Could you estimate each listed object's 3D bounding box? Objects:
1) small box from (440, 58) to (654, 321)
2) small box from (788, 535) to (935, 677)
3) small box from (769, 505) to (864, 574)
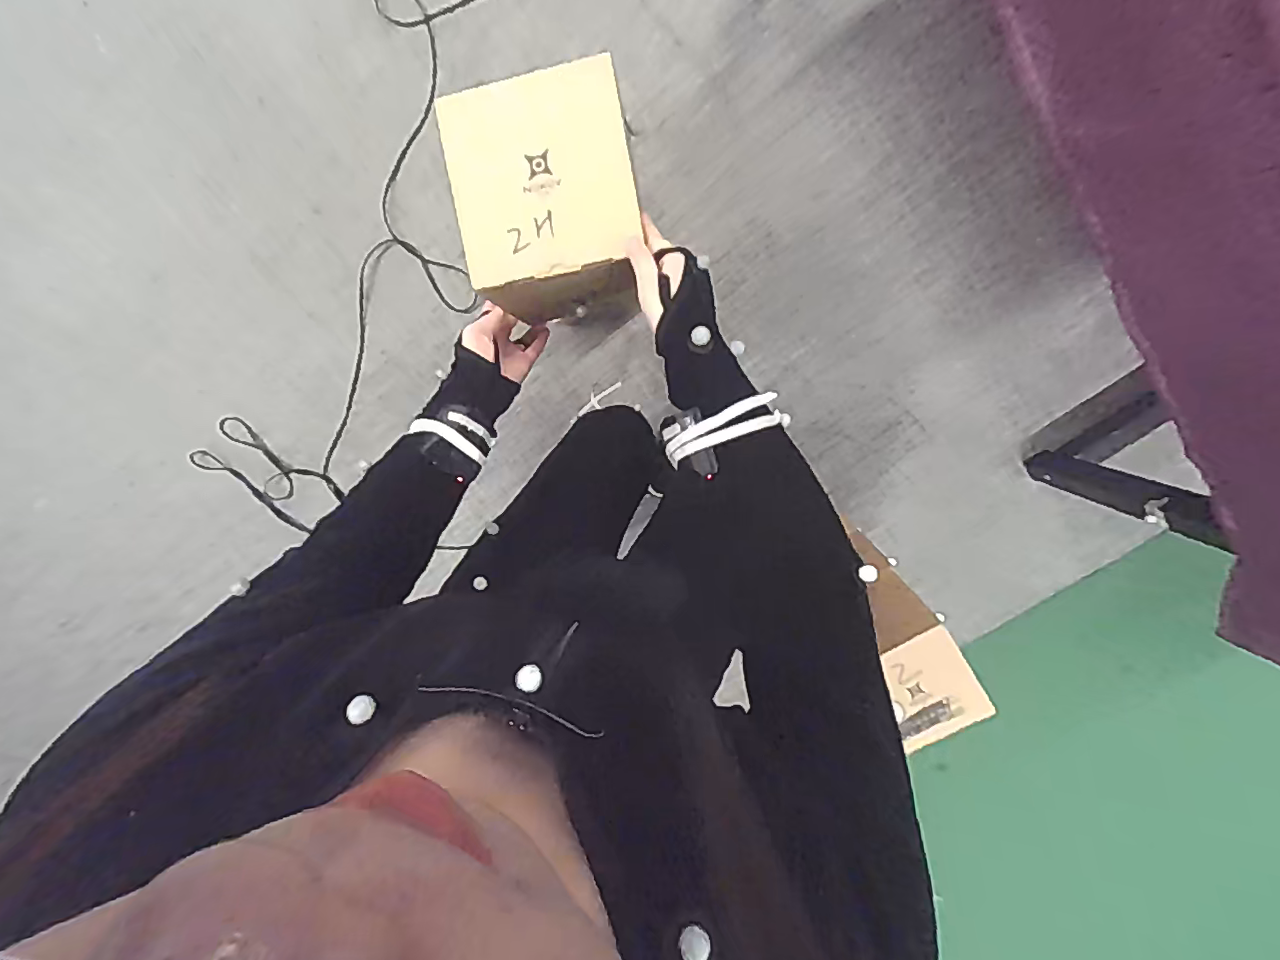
[{"bbox_3d":[-0.083,-0.285,0.573,0.168,0.176,0.179,-10,95,7],"label":"small box"},{"bbox_3d":[0.404,0.223,1.018,0.168,0.176,0.179,-34,104,11],"label":"small box"},{"bbox_3d":[0.402,0.172,1.172,0.168,0.176,0.179,-32,103,9],"label":"small box"}]
